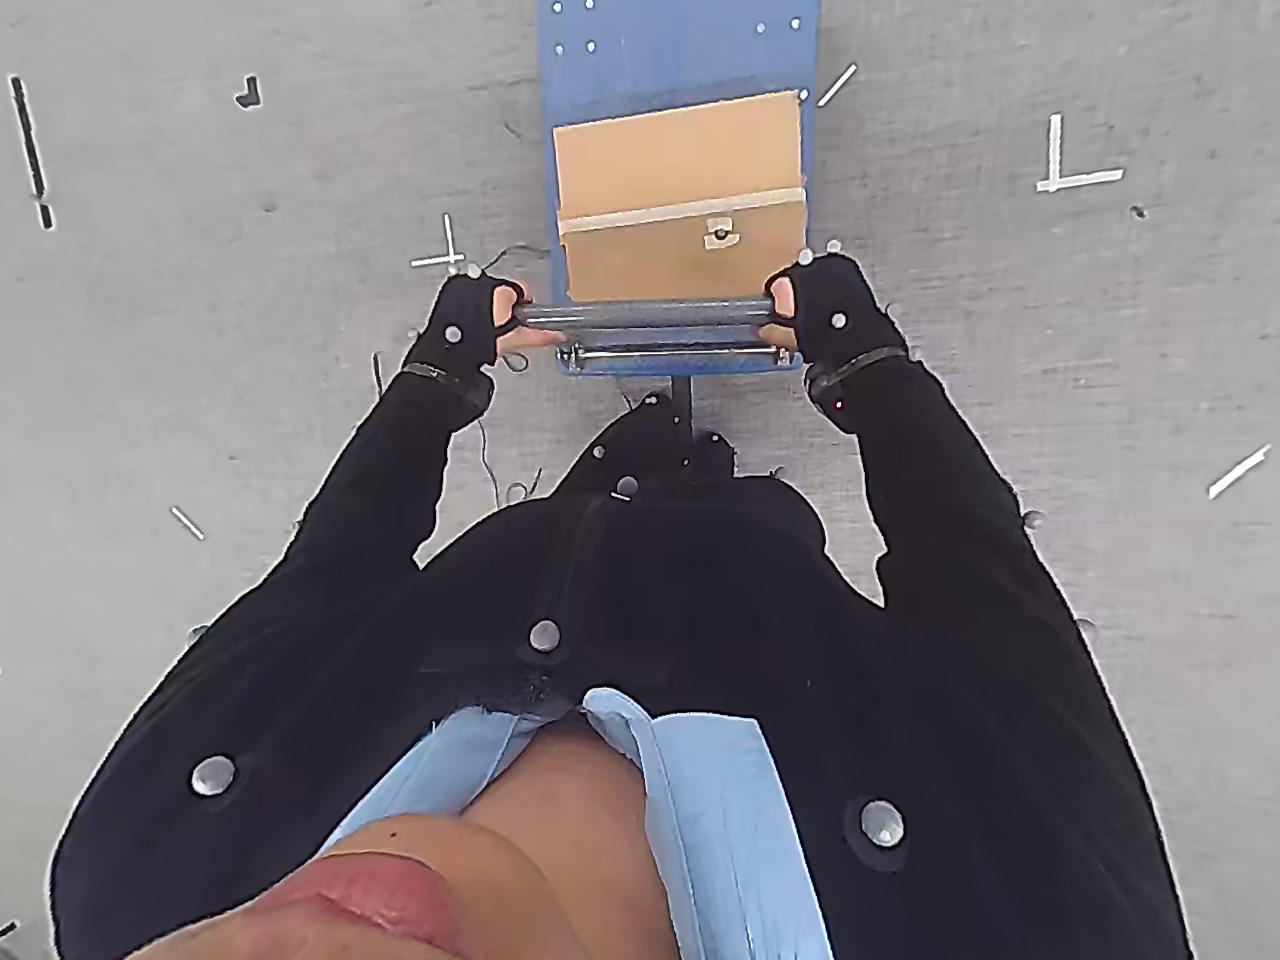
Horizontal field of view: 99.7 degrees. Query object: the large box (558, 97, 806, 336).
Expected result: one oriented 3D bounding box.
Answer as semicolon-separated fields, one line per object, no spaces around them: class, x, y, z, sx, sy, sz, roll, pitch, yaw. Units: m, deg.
large box;0.085;-0.474;1.061;0.408;0.320;0.320;-4;100;7
